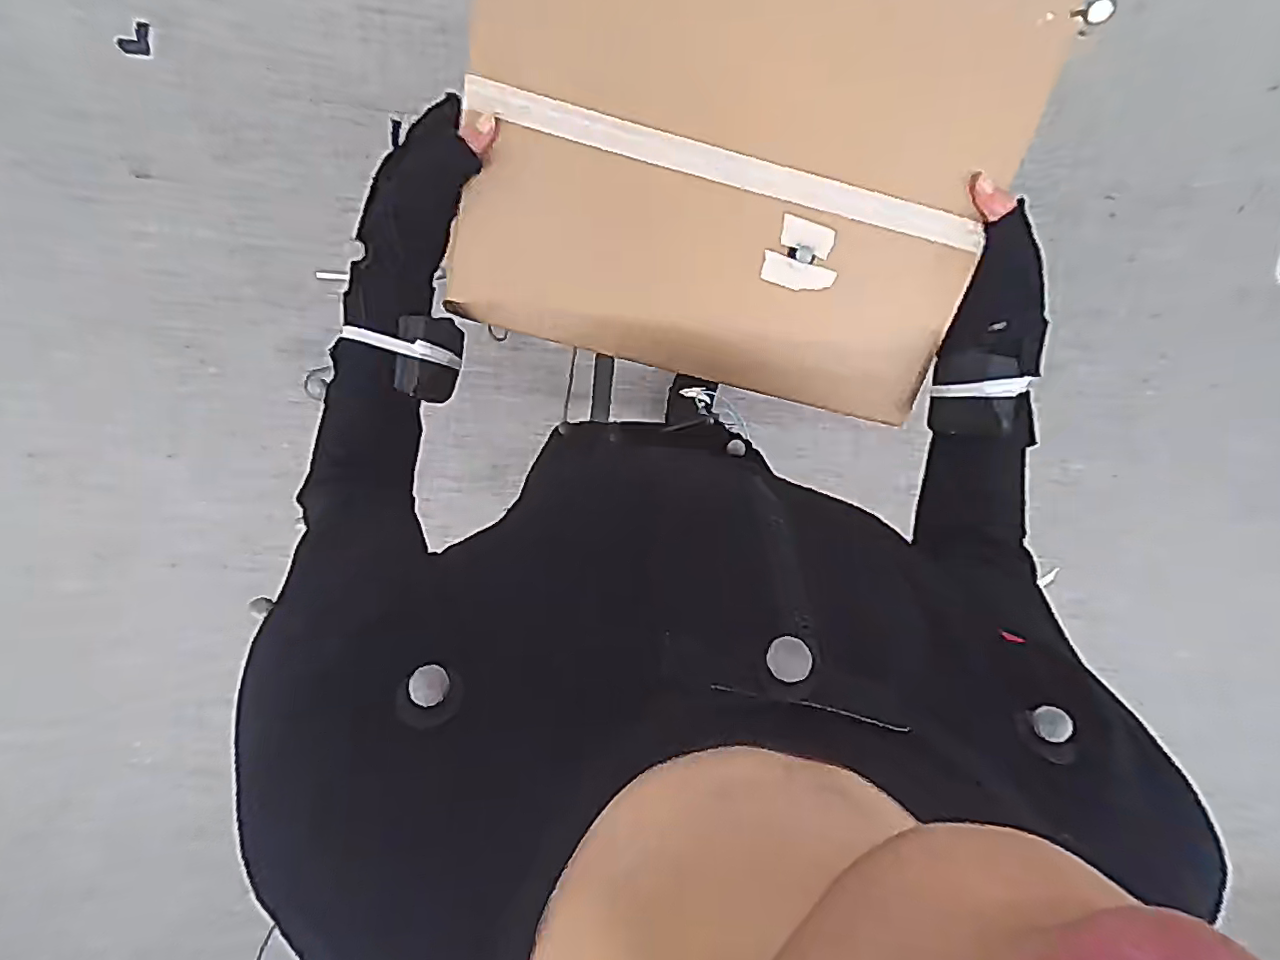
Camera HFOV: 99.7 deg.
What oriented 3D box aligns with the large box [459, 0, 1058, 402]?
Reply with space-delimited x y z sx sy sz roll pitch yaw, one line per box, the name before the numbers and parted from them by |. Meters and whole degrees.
large box | 0.066 -0.301 0.553 0.408 0.320 0.320 12 113 -7
